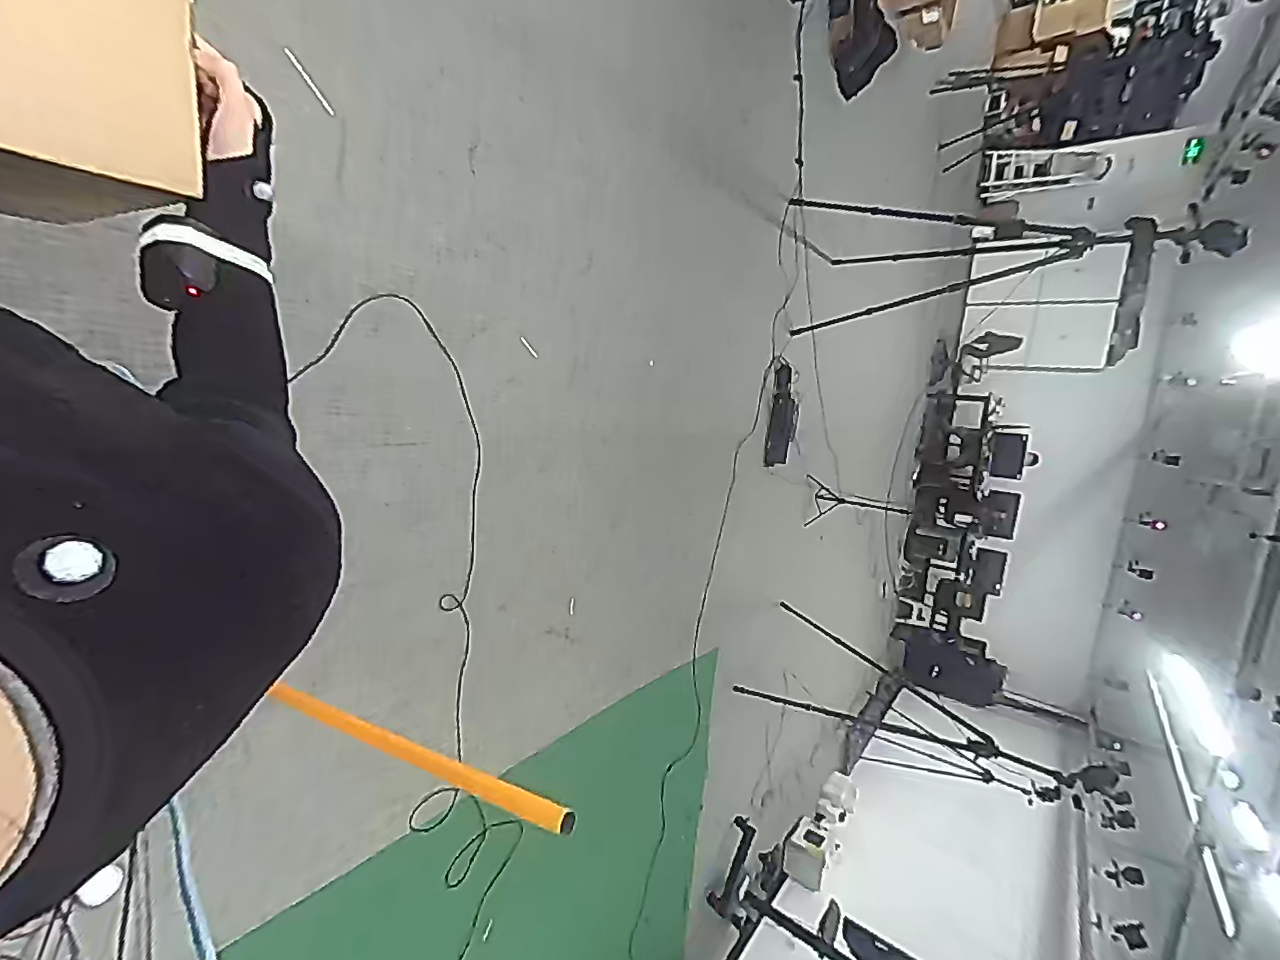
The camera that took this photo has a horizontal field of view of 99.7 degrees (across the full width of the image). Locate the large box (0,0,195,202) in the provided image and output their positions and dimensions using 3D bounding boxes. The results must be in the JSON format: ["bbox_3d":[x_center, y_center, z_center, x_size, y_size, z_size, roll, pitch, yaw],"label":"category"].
[{"bbox_3d":[-0.592,-0.389,0.327,0.408,0.320,0.320,-17,114,-58],"label":"large box"}]
